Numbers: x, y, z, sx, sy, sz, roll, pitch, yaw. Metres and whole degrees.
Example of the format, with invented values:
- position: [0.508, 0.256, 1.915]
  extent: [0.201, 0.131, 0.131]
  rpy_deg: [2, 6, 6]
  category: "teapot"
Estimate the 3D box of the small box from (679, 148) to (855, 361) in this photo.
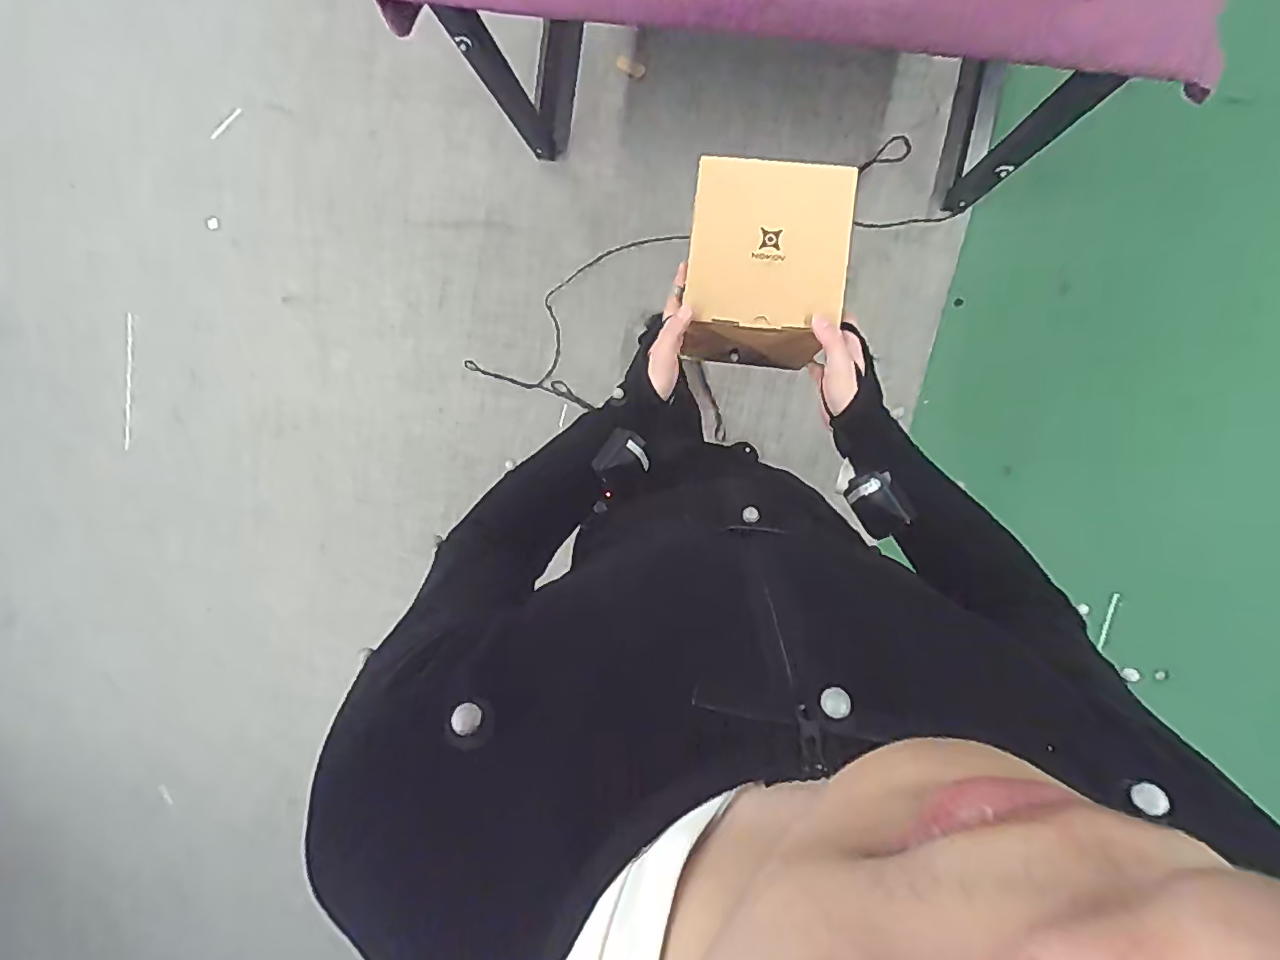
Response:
- position: [0.136, -0.252, 0.639]
  extent: [0.168, 0.176, 0.179]
  rpy_deg: [6, 91, 4]
  category: "small box"
